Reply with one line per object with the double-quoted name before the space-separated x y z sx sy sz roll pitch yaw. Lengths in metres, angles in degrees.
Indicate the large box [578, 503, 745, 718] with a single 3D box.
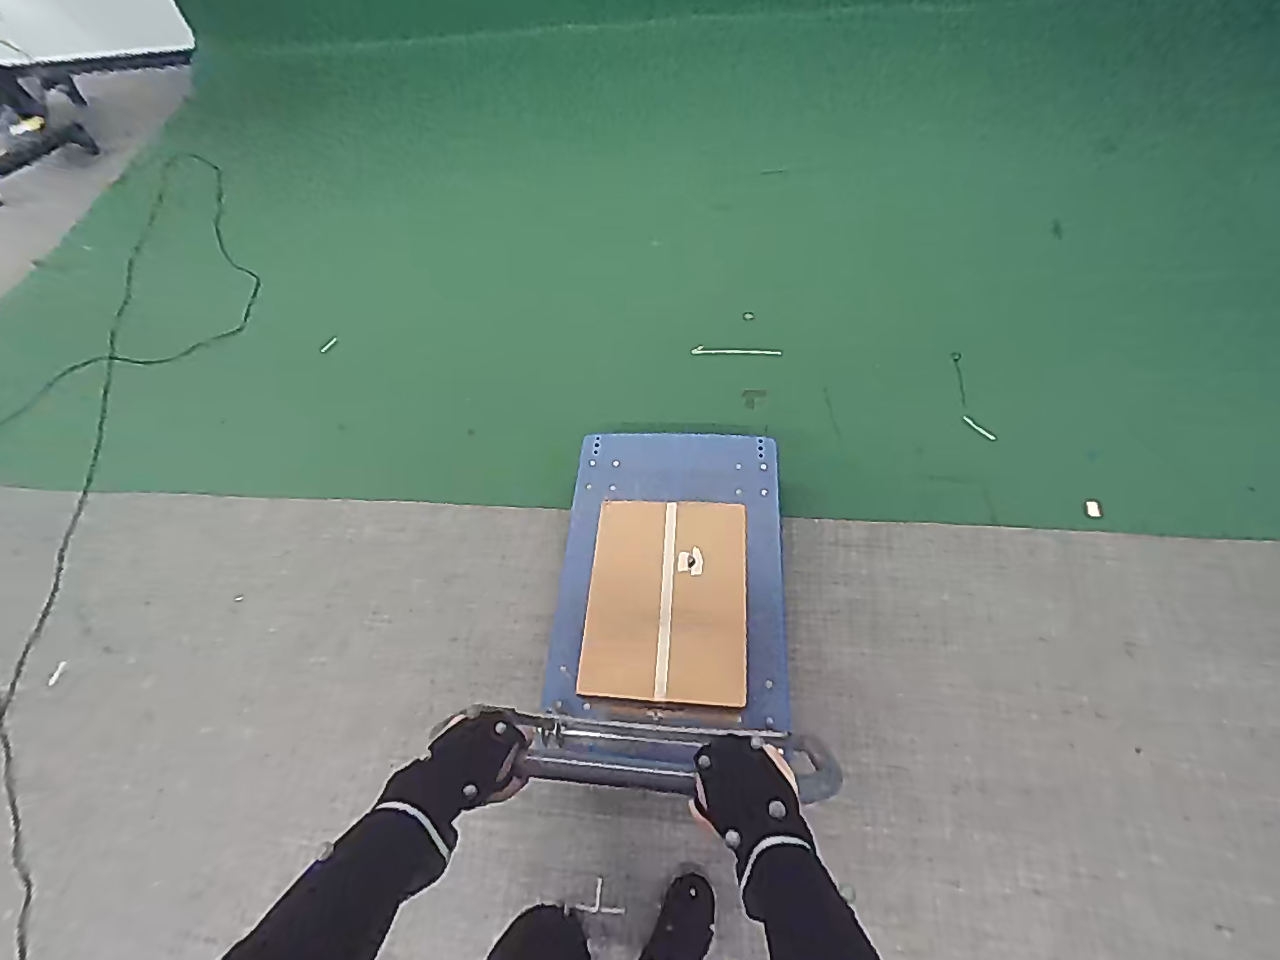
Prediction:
"large box" 0.062 0.299 1.212 0.320 0.320 0.408 1 61 6
